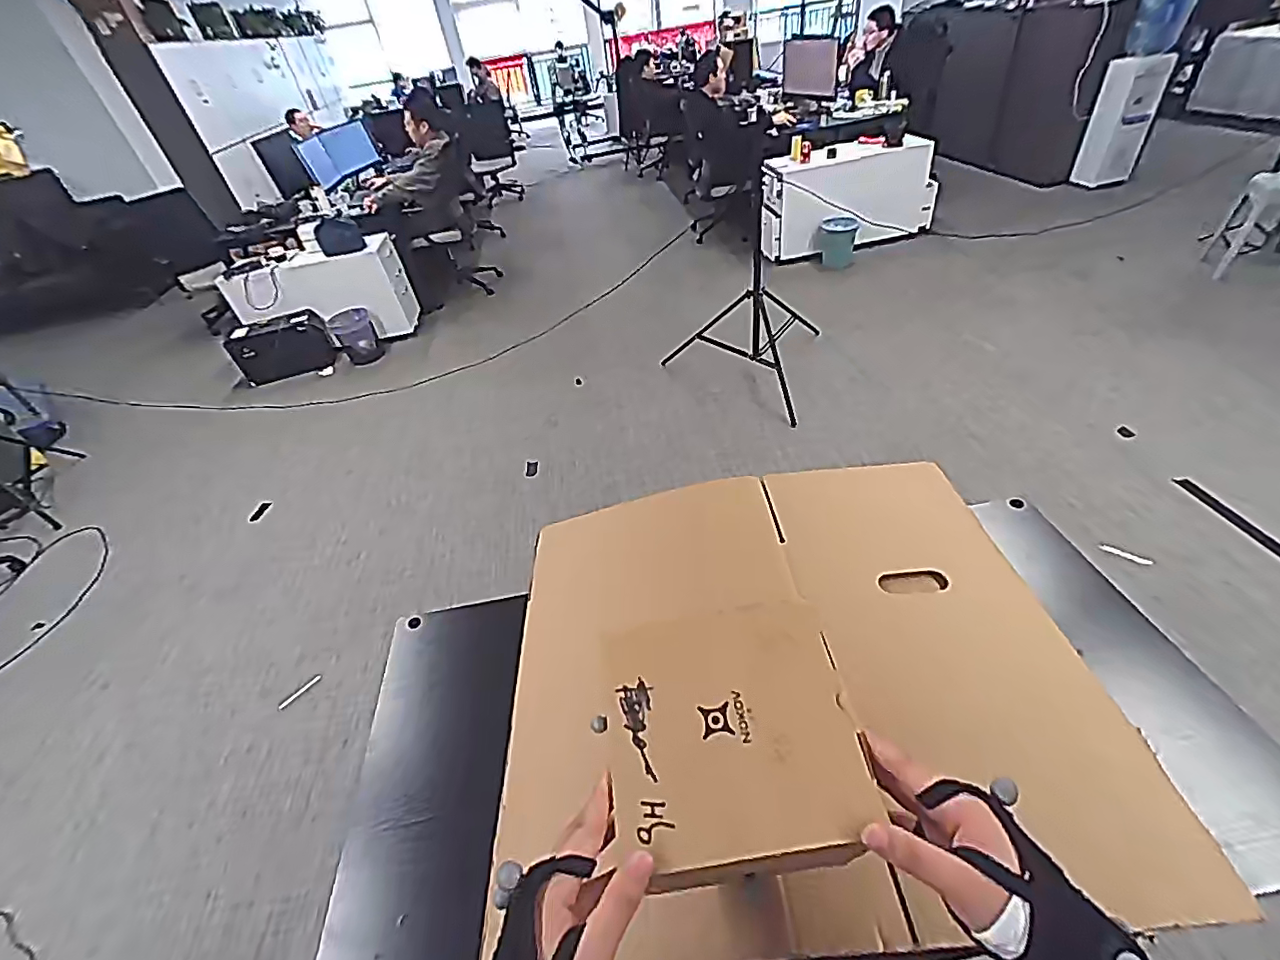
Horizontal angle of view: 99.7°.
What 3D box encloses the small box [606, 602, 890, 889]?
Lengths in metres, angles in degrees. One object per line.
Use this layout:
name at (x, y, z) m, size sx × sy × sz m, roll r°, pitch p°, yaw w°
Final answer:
small box at (0.071, 0.225, 0.453) m, size 0.179 × 0.176 × 0.168 m, roll -8°, pitch 48°, yaw -1°
